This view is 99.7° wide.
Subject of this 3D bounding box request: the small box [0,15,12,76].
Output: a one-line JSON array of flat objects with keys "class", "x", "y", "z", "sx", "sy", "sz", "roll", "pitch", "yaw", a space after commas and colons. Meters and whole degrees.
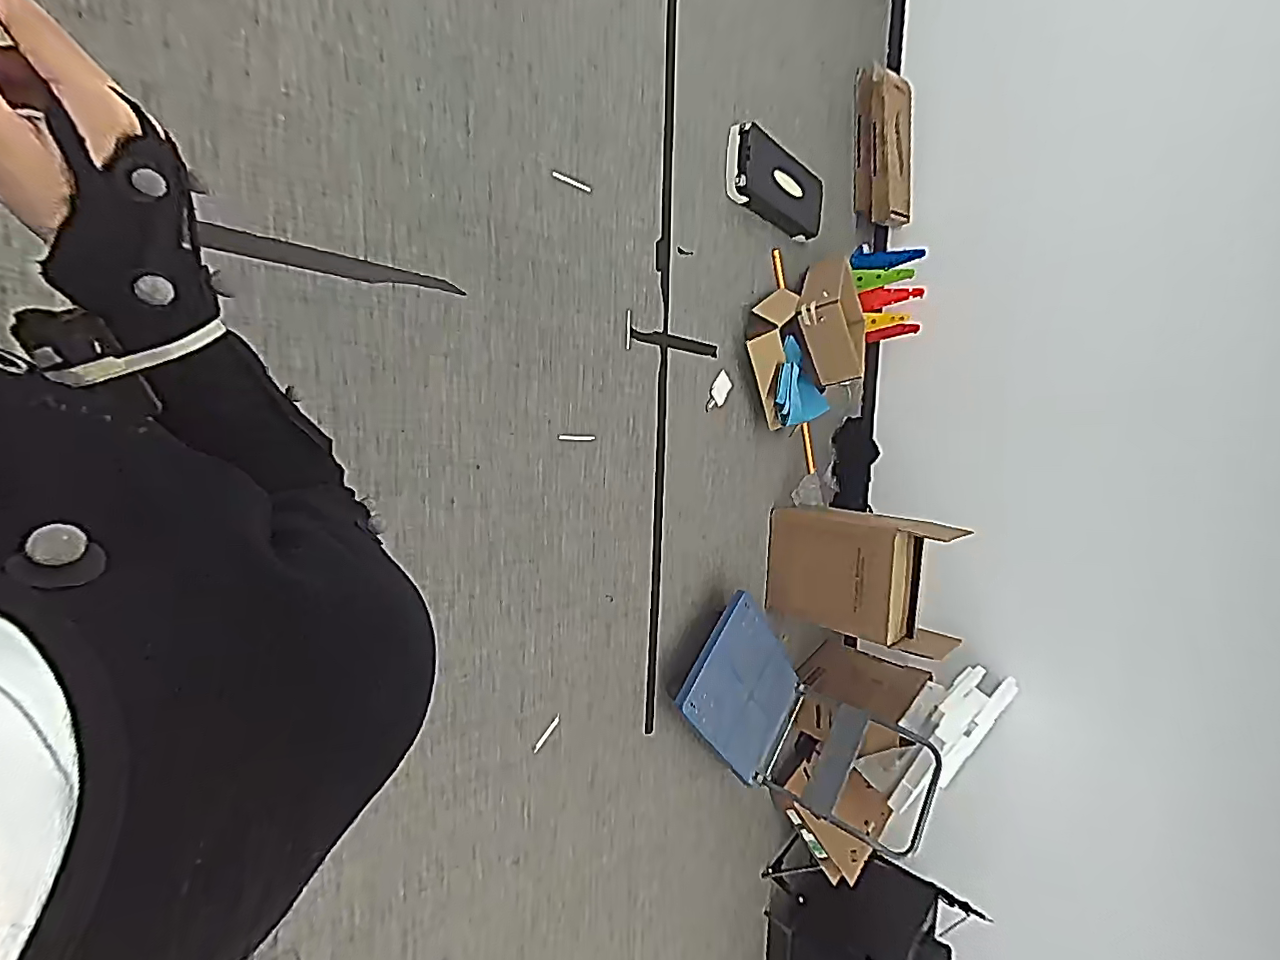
[{"class": "small box", "x": -0.389, "y": -0.275, "z": 0.200, "sx": 0.168, "sy": 0.176, "sz": 0.179, "roll": -20, "pitch": 124, "yaw": -39}]
